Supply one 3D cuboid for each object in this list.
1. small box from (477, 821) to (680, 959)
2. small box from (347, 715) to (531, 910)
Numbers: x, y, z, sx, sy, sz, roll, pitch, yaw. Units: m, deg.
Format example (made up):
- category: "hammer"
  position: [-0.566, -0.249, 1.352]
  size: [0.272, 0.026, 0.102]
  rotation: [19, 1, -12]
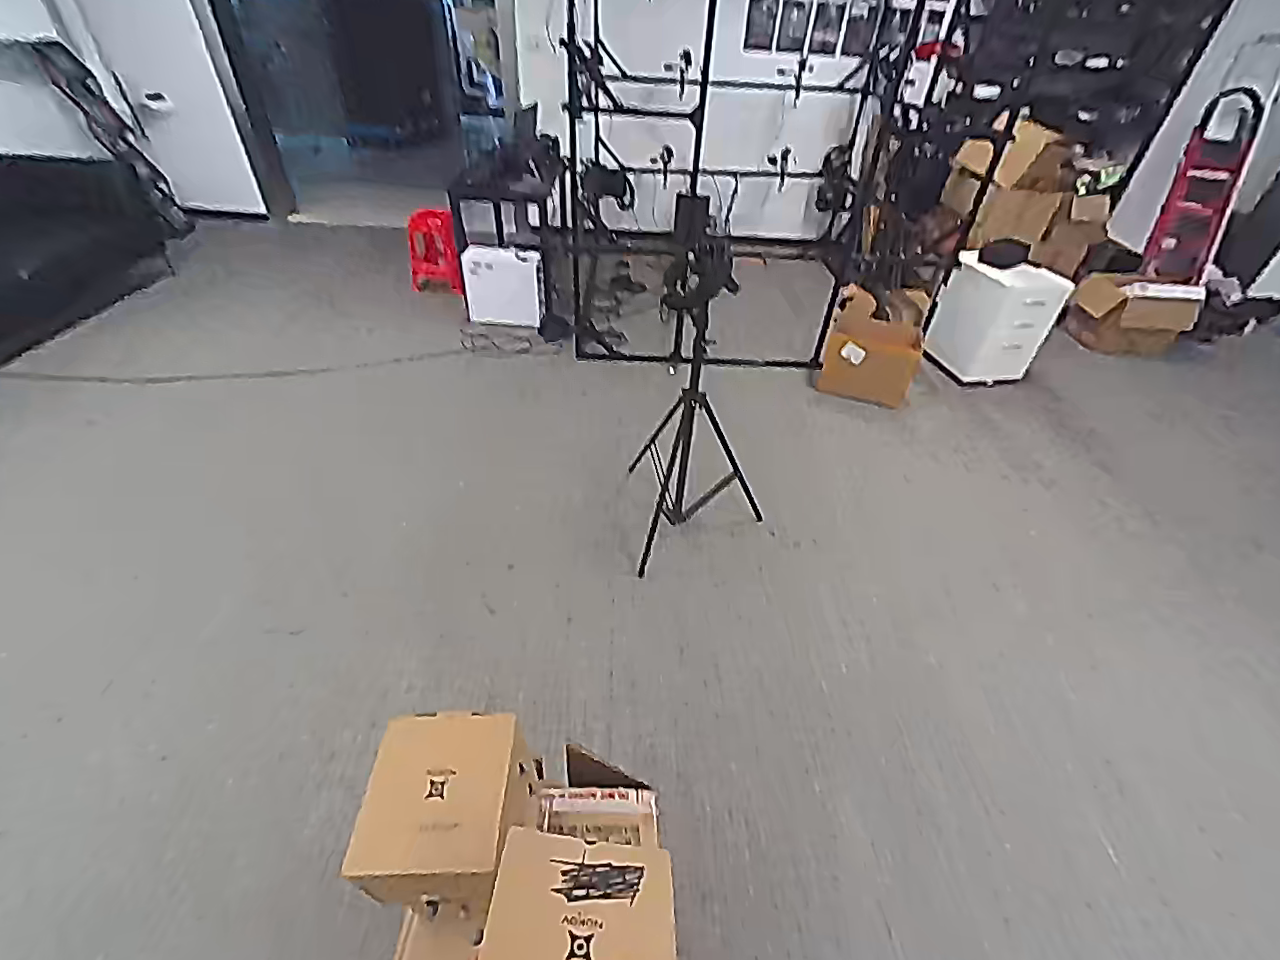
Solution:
- category: "small box"
  position: [-0.066, 0.452, 0.476]
  size: [0.168, 0.176, 0.179]
  rotation: [12, 20, -5]
- category: "small box"
  position: [-0.237, 0.426, 0.695]
  size: [0.168, 0.176, 0.179]
  rotation: [-1, 43, -2]
